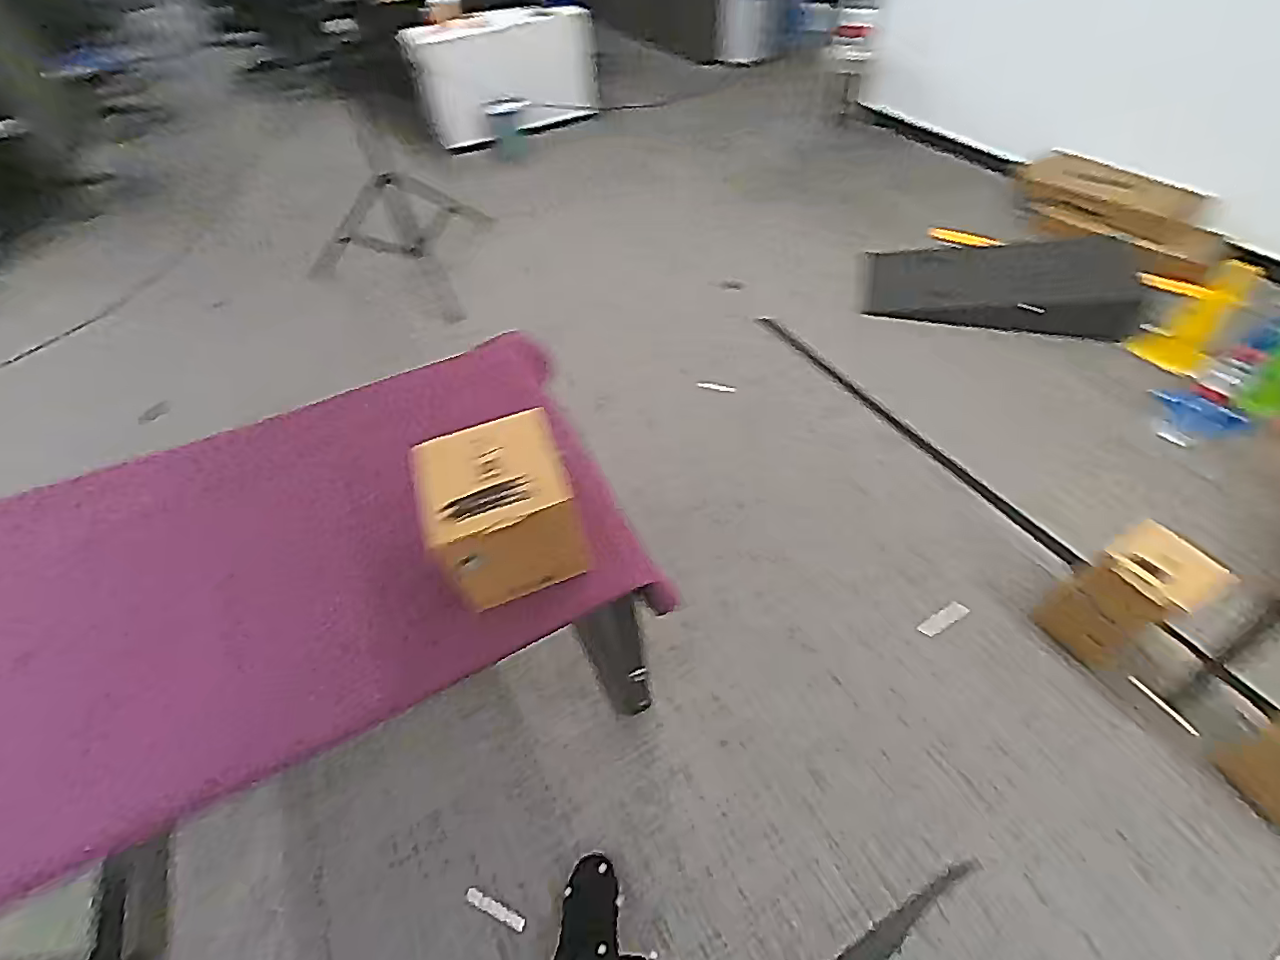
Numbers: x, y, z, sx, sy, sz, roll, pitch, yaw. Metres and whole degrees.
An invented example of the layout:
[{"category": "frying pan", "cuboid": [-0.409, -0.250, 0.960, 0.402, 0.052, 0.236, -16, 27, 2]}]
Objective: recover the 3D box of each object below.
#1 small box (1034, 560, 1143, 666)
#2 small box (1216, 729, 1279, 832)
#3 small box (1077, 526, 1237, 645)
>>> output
[{"category": "small box", "cuboid": [1.148, 0.340, 1.349, 0.168, 0.176, 0.179, -26, 54, -18]}, {"category": "small box", "cuboid": [1.382, 0.622, 1.111, 0.168, 0.176, 0.179, -21, 54, -13]}, {"category": "small box", "cuboid": [1.143, 0.242, 1.217, 0.179, 0.176, 0.168, -23, 54, -16]}]
